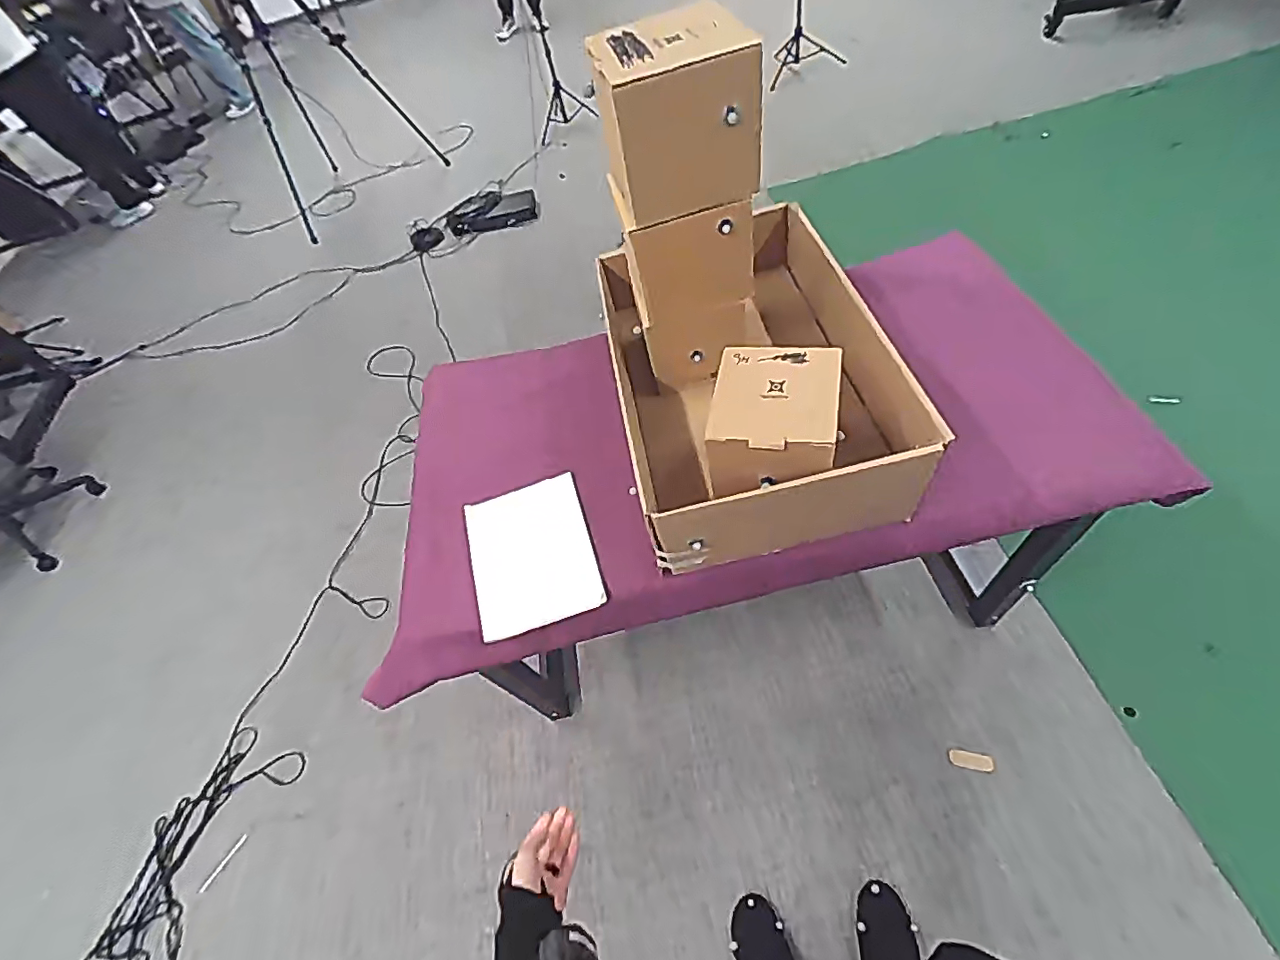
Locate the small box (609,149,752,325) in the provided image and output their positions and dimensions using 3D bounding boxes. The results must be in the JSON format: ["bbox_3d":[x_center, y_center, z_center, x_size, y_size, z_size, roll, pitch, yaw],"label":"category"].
[{"bbox_3d":[0.066,-0.366,0.833,0.179,0.176,0.168,-15,55,2],"label":"small box"}]

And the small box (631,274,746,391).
[{"bbox_3d":[0.089,-0.278,0.967,0.168,0.176,0.179,-13,55,3],"label":"small box"}]
